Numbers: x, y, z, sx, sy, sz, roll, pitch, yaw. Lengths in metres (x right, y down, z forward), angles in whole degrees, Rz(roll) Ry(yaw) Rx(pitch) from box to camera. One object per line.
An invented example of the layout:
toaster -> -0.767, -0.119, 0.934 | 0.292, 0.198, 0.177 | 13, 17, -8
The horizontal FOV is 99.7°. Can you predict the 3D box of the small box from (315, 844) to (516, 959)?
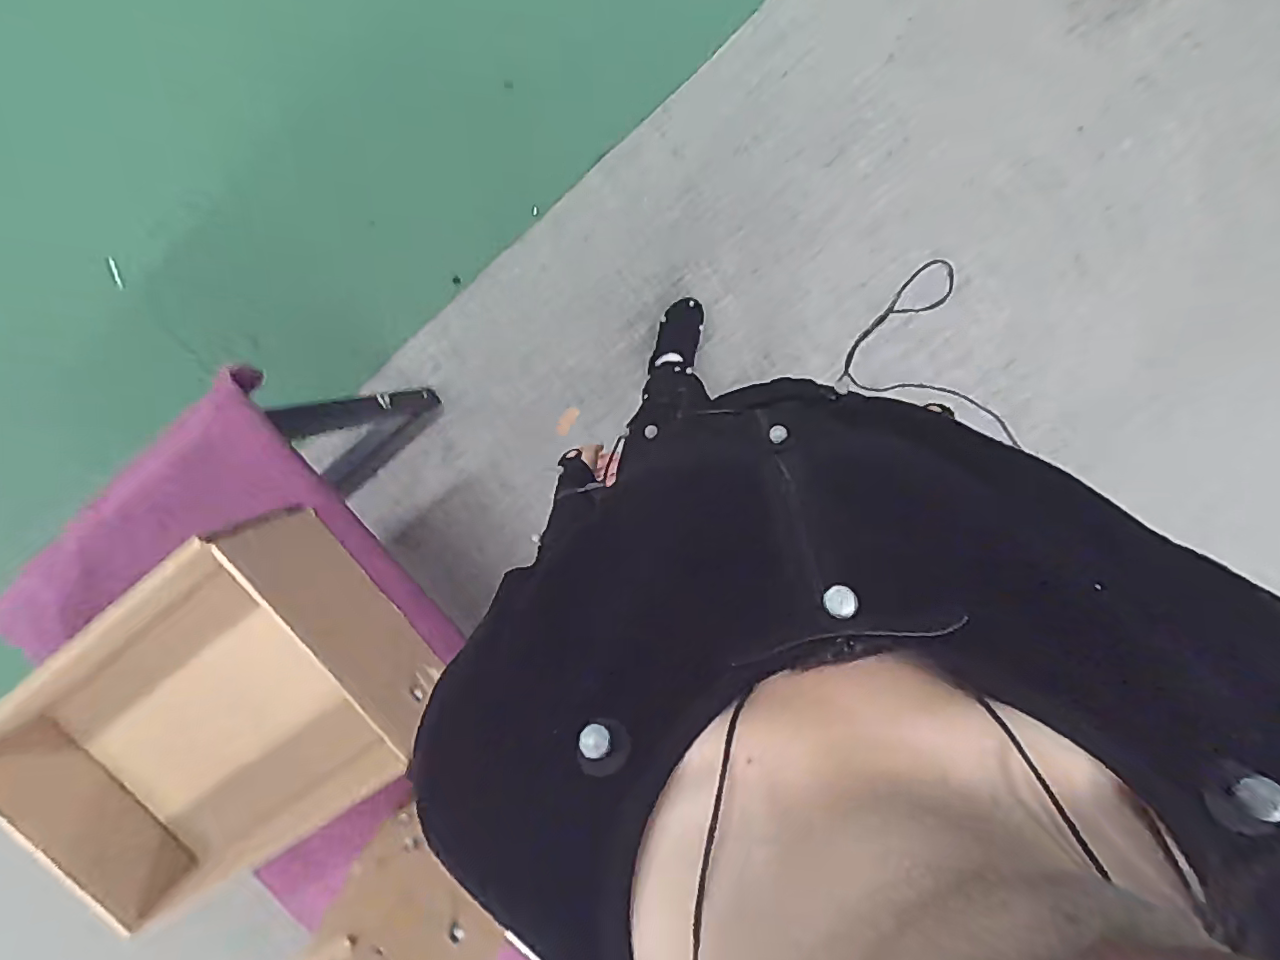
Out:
small box -> -0.292, 0.609, 0.689 | 0.168, 0.176, 0.179 | -35, 97, 13
